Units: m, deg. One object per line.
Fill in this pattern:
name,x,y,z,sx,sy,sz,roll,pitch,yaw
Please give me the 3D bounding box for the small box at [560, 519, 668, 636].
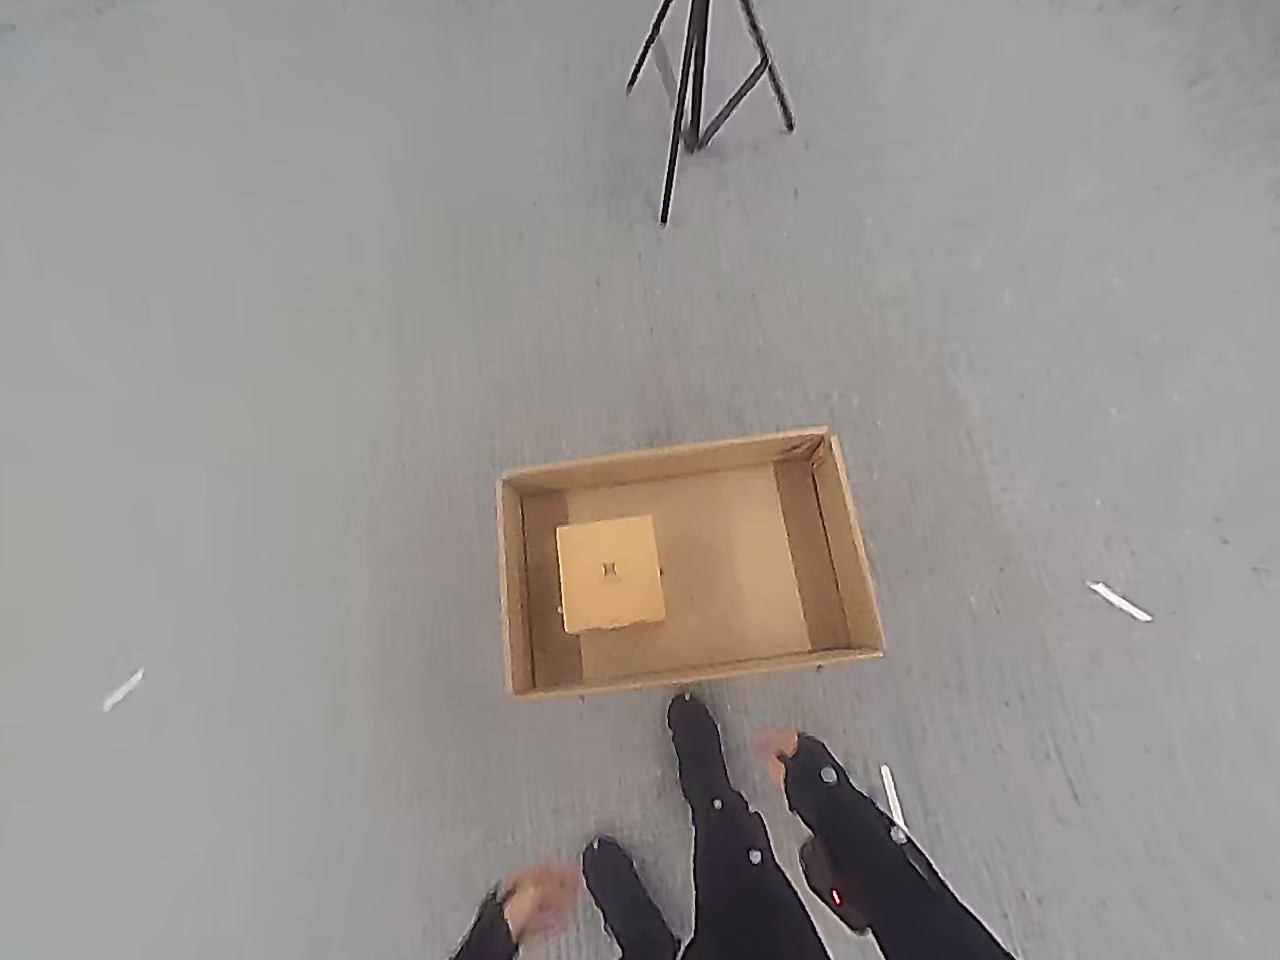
small box,-0.044,0.181,0.971,0.168,0.176,0.179,-8,74,0
